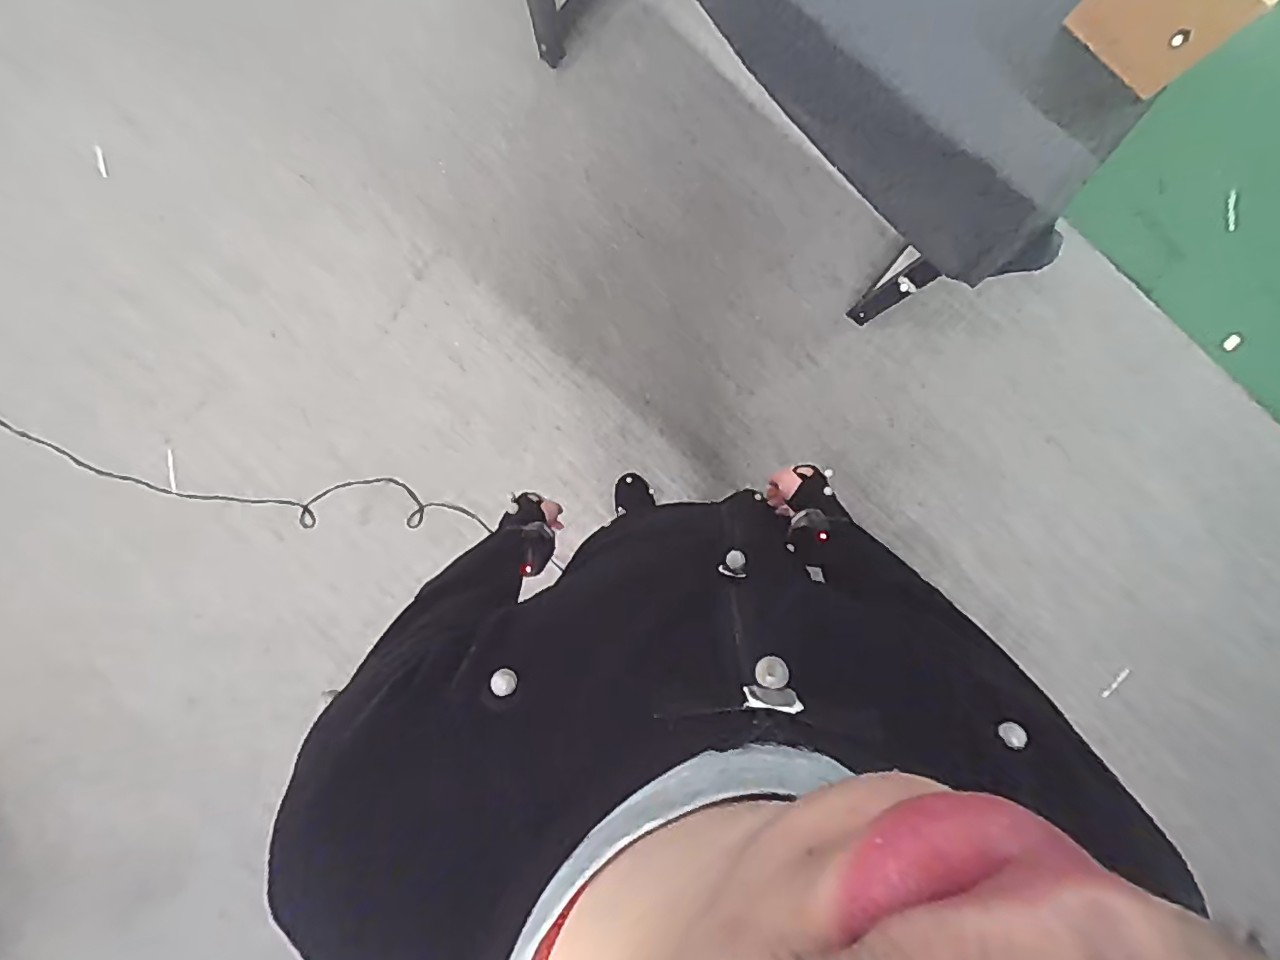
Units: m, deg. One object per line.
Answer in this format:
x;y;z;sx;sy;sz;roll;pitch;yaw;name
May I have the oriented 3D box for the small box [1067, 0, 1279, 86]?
0.747;-0.684;0.726;0.179;0.176;0.168;42;90;0;small box
